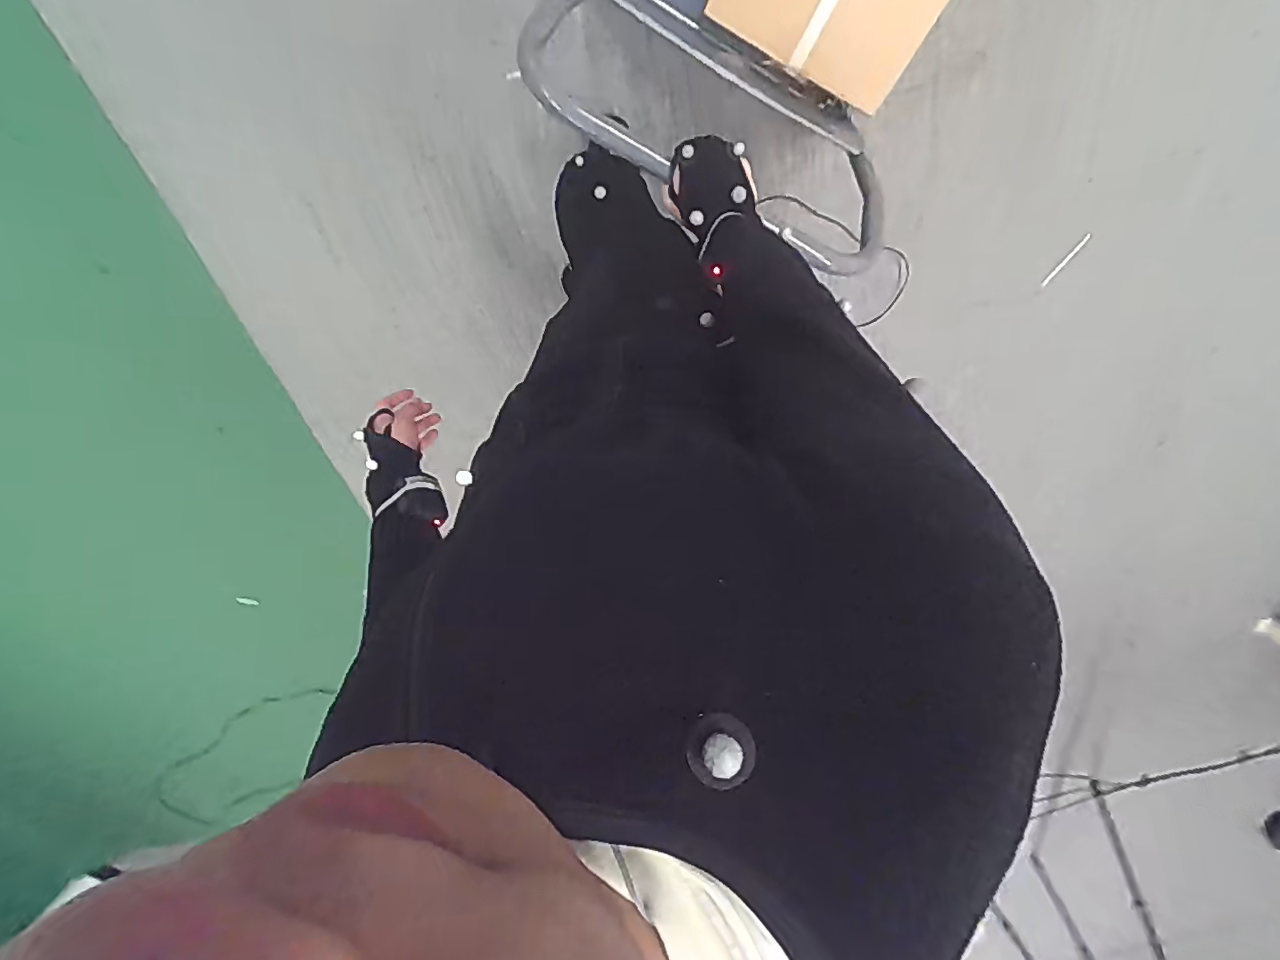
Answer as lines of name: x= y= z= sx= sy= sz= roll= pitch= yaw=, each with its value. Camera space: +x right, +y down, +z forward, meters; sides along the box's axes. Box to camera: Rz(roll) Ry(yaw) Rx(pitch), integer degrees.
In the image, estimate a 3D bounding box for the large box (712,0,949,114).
large box: x=0.339 y=-0.872 z=0.824 sx=0.320 sy=0.320 sz=0.408 roll=22 pitch=133 yaw=-13
